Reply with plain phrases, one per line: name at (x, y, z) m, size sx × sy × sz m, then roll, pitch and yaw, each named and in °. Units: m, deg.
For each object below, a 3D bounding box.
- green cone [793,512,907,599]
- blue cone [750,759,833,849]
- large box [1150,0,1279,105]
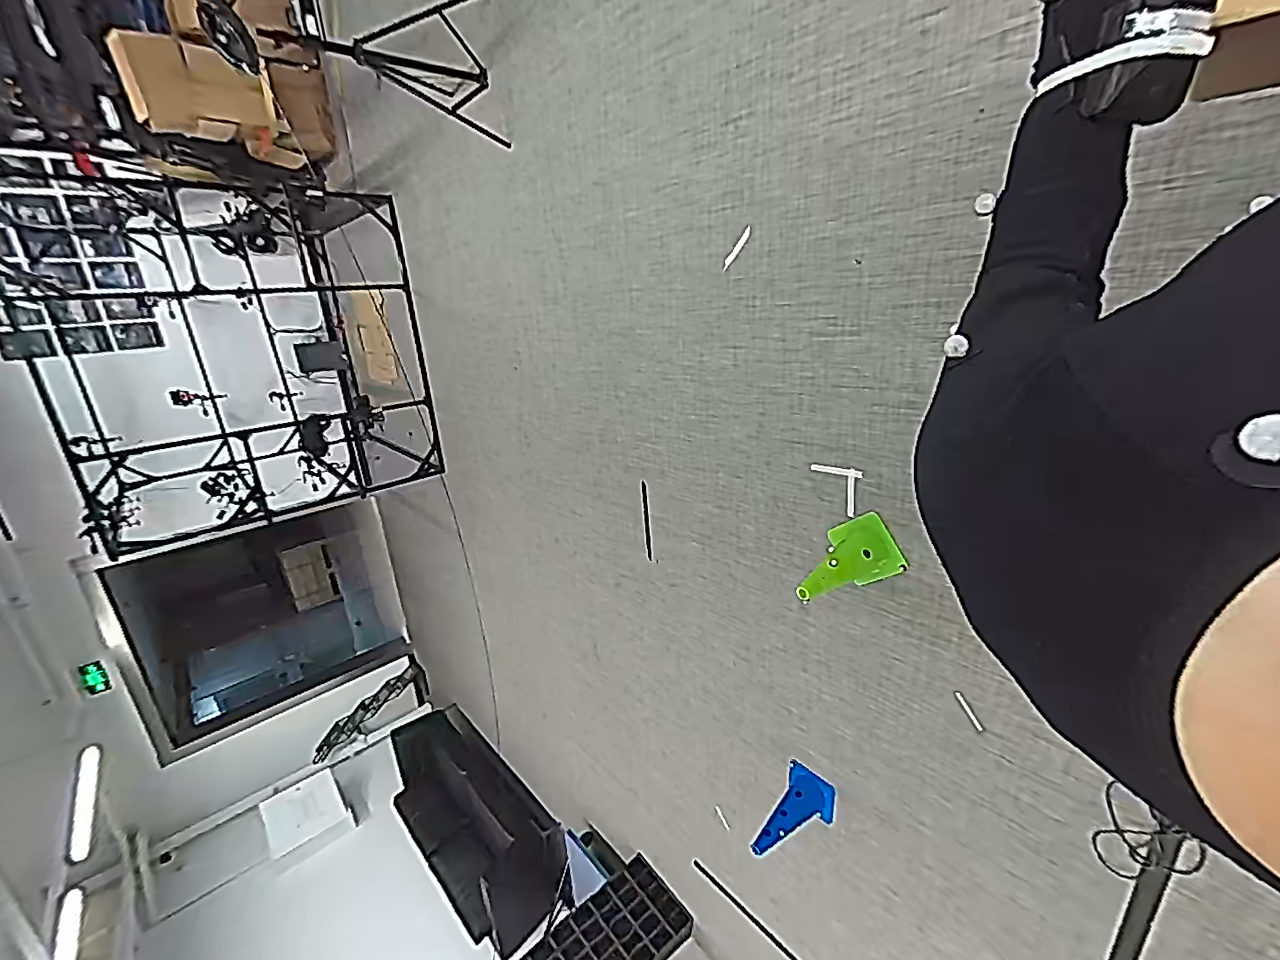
green cone at (0.576, 0.256, 1.586) m, size 0.202 × 0.368 × 0.200 m, roll -42°, pitch 72°, yaw 52°
blue cone at (0.561, 1.280, 2.071) m, size 0.192 × 0.380 × 0.193 m, roll 22°, pitch 121°, yaw 46°
large box at (0.568, -0.441, 0.268) m, size 0.408 × 0.320 × 0.320 m, roll 16°, pitch 119°, yaw 44°
